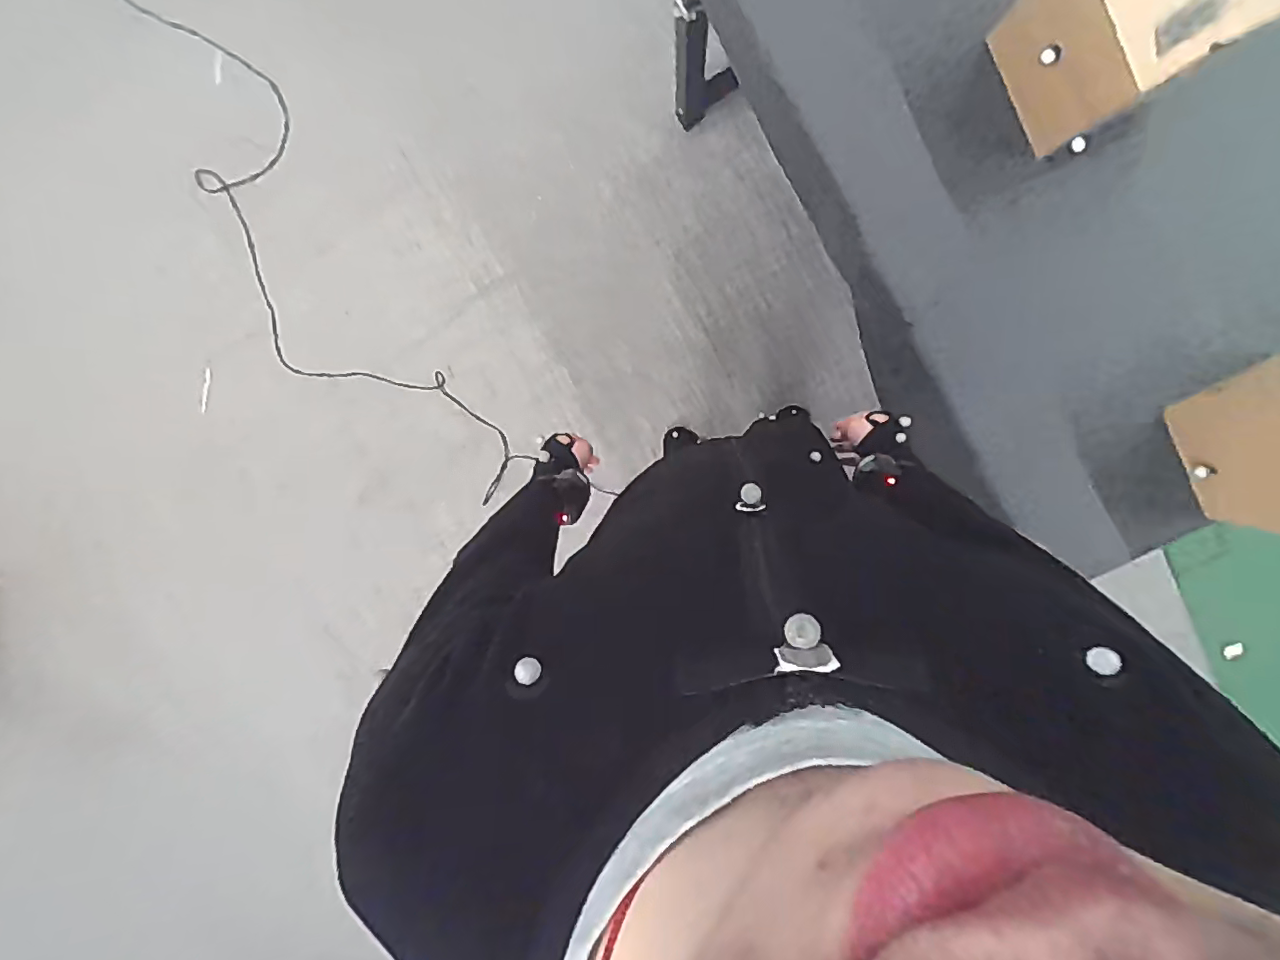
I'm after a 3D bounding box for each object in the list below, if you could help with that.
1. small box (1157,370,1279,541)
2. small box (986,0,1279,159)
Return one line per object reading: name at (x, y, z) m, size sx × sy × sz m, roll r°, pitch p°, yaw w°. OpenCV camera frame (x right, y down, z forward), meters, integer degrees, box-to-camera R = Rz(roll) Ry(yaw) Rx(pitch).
small box at (0.836, -0.035, 0.691) m, size 0.168 × 0.176 × 0.179 m, roll -27°, pitch 96°, yaw 6°
small box at (0.560, -0.518, 0.638) m, size 0.168 × 0.176 × 0.179 m, roll -28°, pitch 95°, yaw 5°
